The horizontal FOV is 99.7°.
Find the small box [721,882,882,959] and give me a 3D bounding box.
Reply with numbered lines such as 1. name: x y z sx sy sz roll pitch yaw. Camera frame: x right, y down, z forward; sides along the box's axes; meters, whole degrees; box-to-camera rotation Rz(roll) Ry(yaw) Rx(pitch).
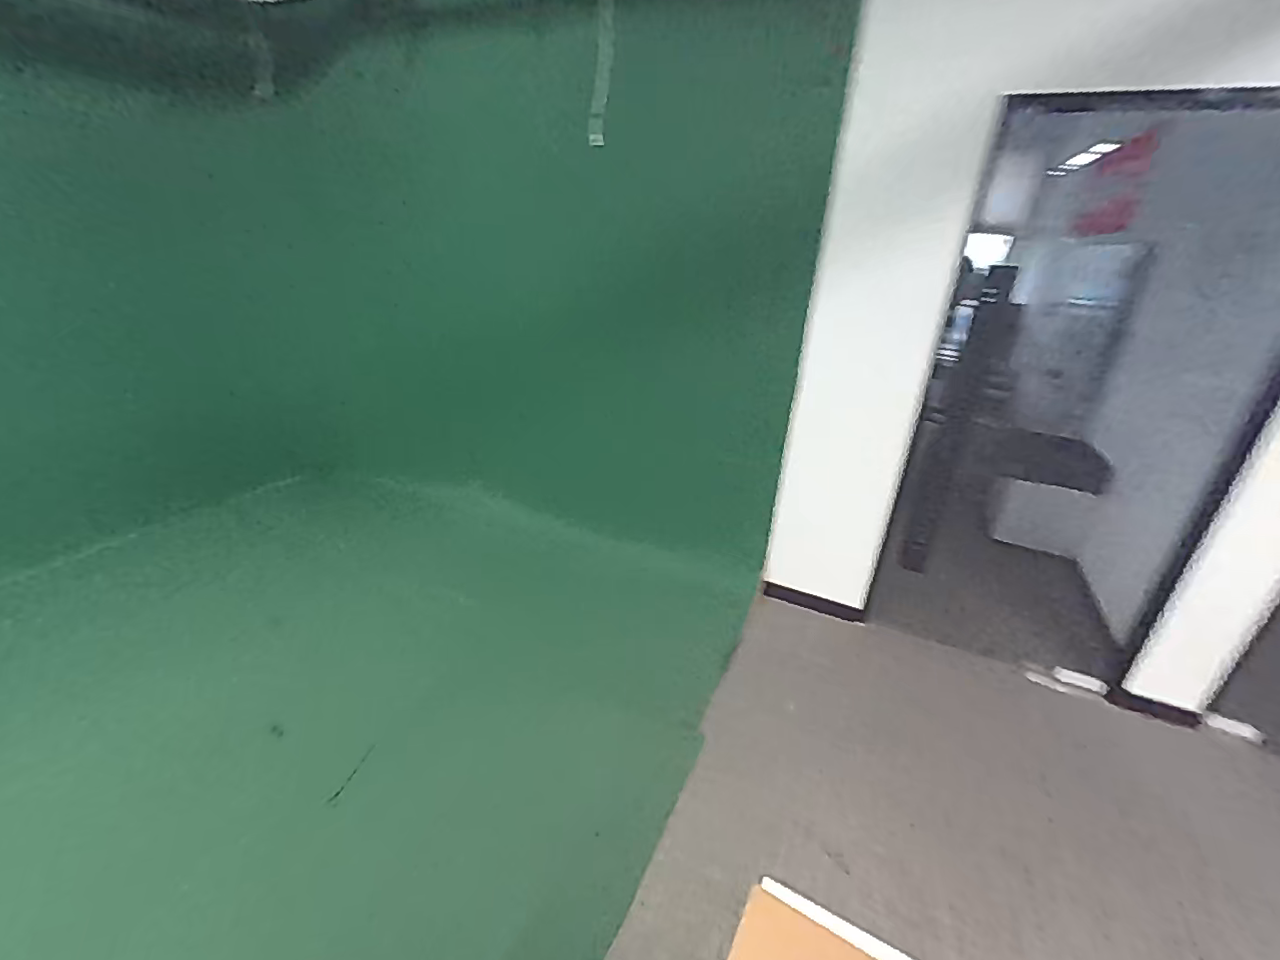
1. small box: 0.153 0.575 0.544 0.179 0.176 0.168 19 27 24
